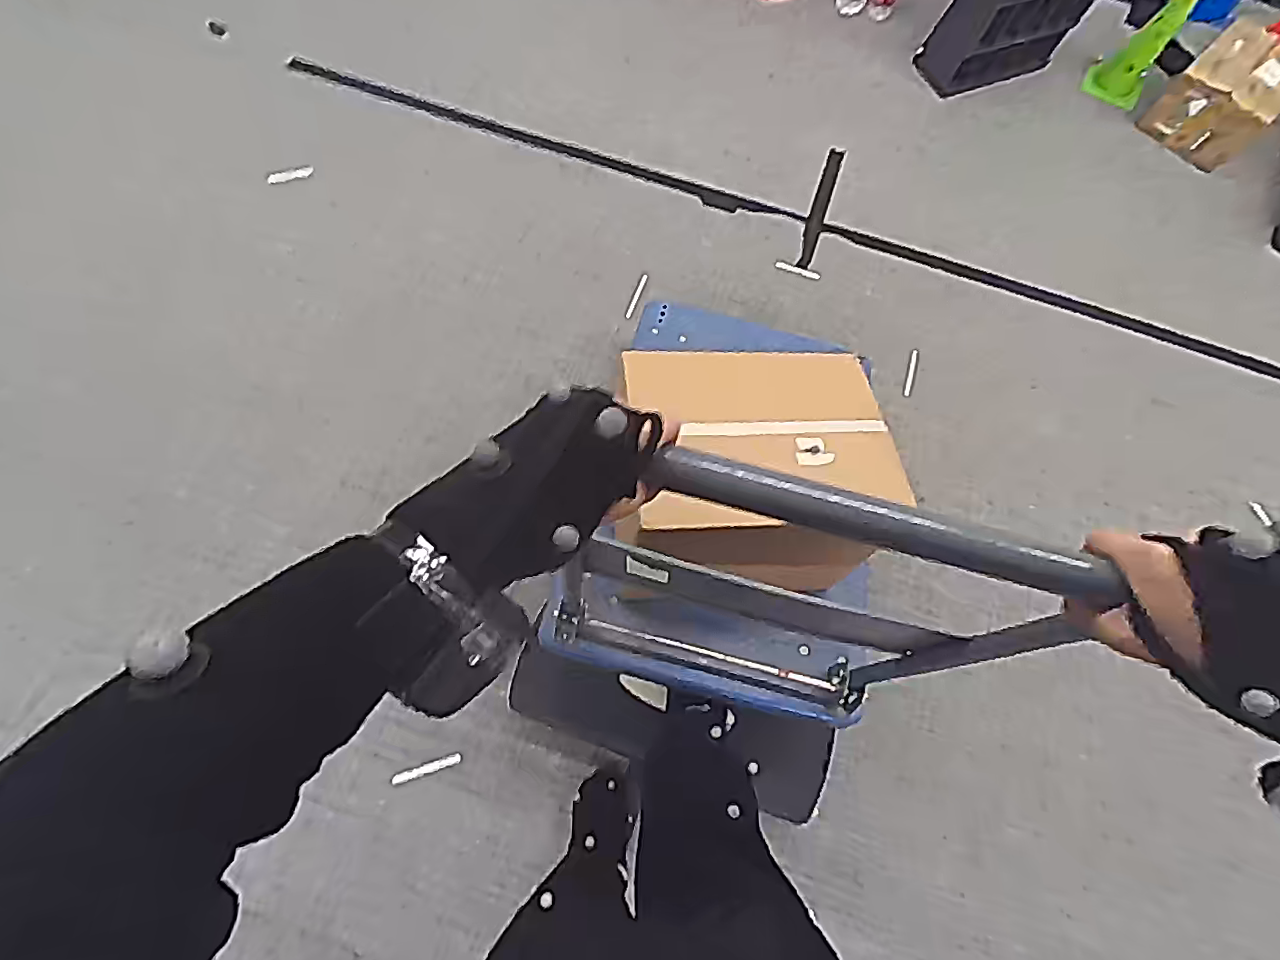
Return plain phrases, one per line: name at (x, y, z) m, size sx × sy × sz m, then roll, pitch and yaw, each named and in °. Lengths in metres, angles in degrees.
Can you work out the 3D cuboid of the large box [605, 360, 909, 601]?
large box at (0.160, 0.007, 0.950) m, size 0.408 × 0.320 × 0.320 m, roll -1°, pitch 61°, yaw -10°
